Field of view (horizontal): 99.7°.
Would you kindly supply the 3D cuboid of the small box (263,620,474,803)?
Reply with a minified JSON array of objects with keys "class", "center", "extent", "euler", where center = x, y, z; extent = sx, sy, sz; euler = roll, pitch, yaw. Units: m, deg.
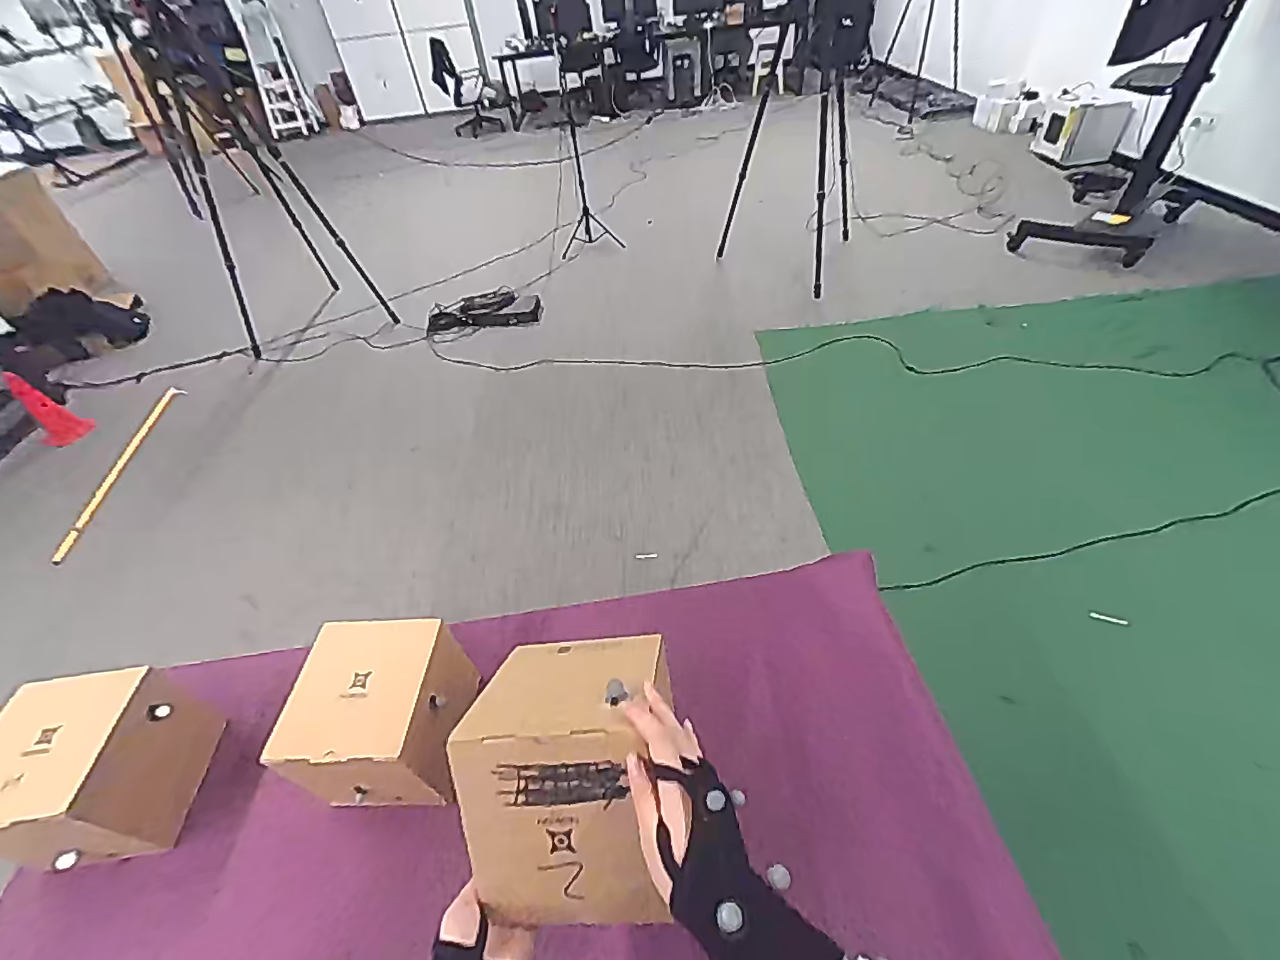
[{"class":"small box","center":[-0.335,0.305,0.716],"extent":[0.168,0.176,0.179],"euler":[-3,46,5]}]

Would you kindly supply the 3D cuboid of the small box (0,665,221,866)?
[{"class":"small box","center":[-0.697,0.368,0.699],"extent":[0.168,0.176,0.179],"euler":[-8,45,0]}]
